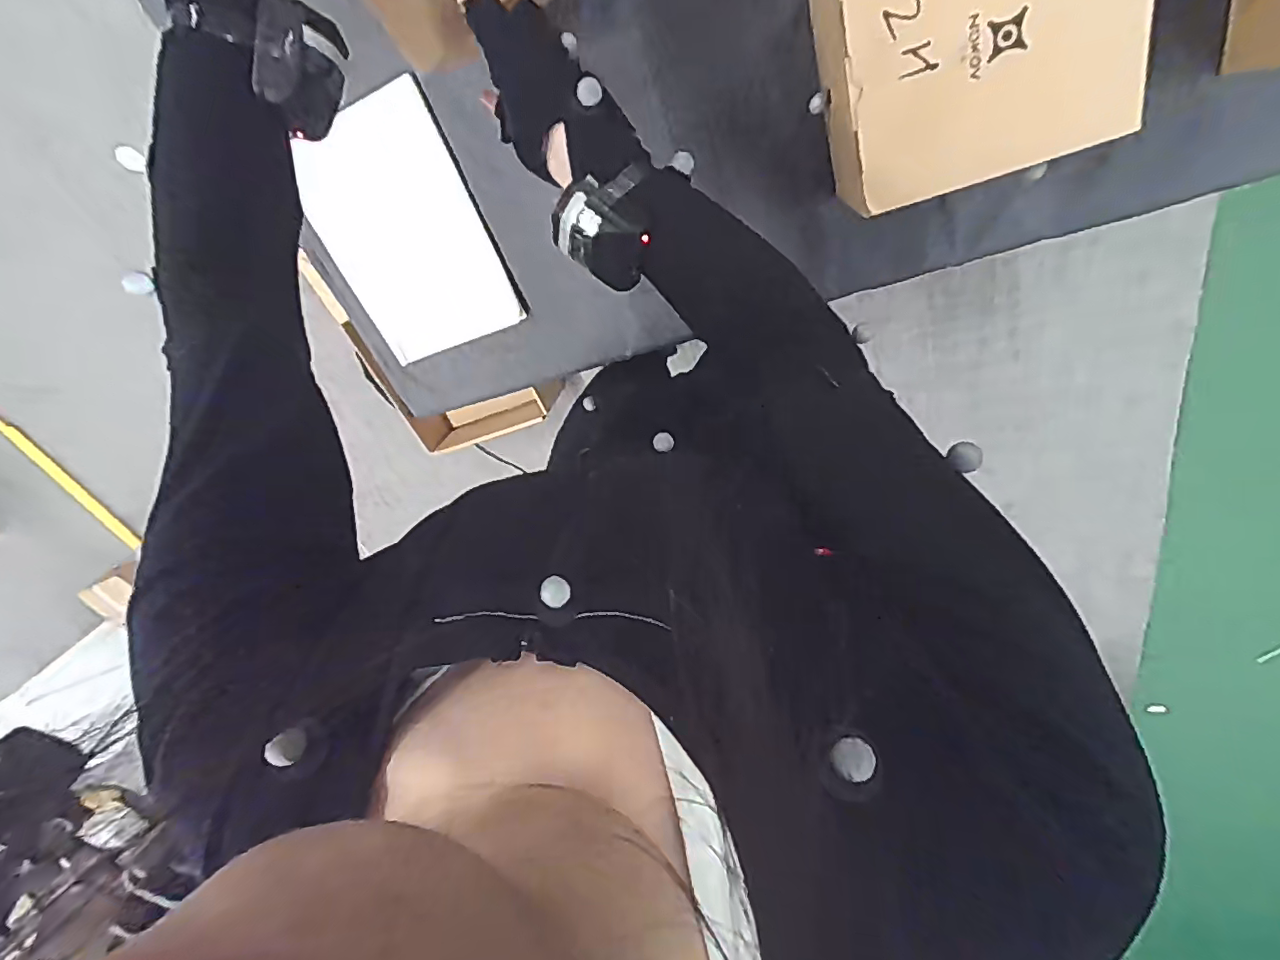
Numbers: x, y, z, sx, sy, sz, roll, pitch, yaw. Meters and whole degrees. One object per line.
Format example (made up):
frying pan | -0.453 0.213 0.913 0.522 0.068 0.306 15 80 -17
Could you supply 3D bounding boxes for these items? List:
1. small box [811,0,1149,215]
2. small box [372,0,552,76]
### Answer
small box | 0.240 -0.327 0.416 0.179 0.176 0.168 -11 119 18
small box | -0.128 -0.445 0.396 0.179 0.176 0.168 -22 127 23
